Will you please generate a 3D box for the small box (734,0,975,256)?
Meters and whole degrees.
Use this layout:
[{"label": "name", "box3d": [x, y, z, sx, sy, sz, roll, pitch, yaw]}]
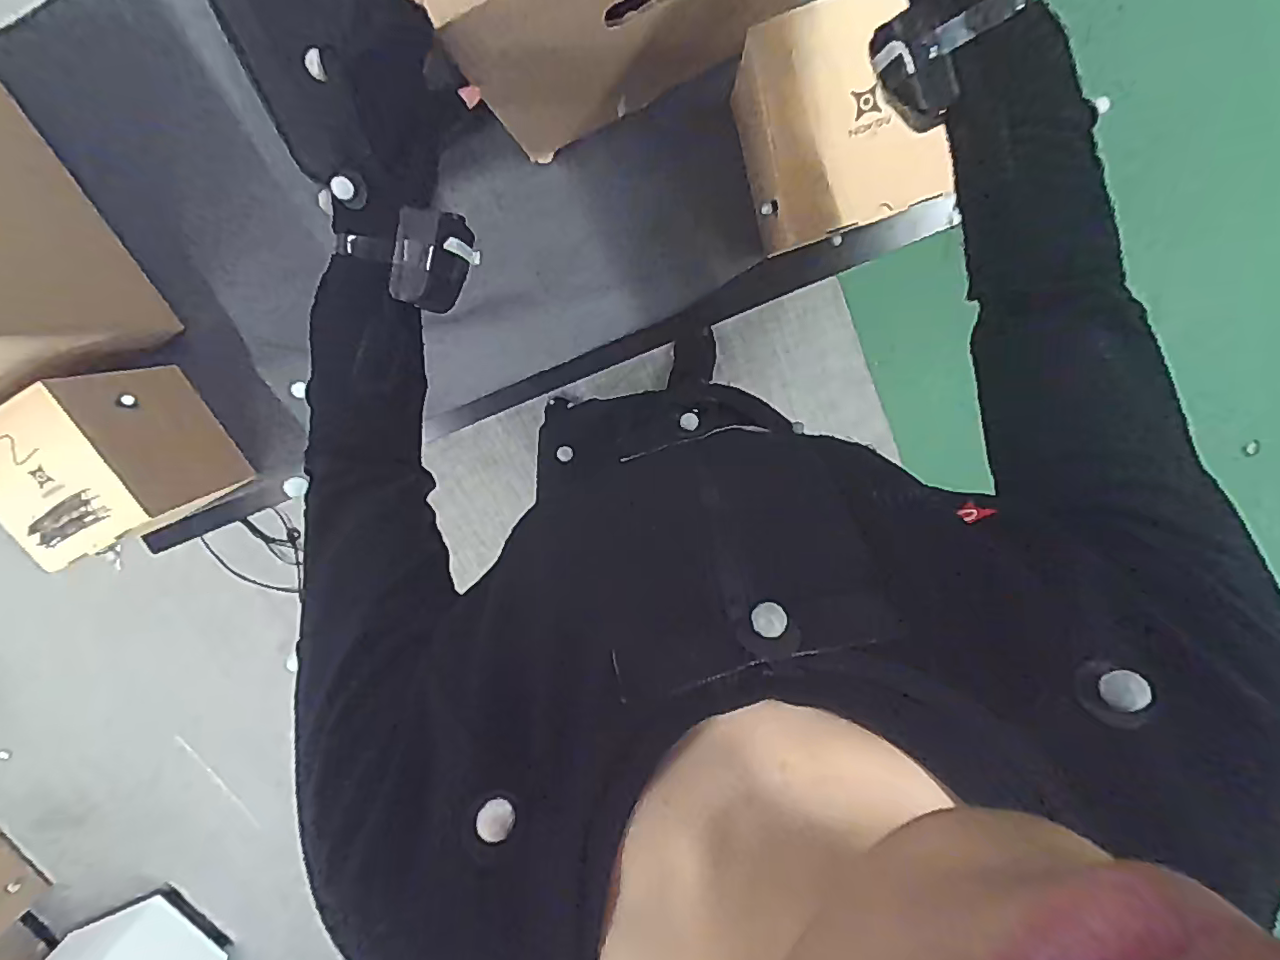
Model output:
[{"label": "small box", "box3d": [0.197, -0.338, 0.536, 0.168, 0.176, 0.179, -15, 109, 9]}]
